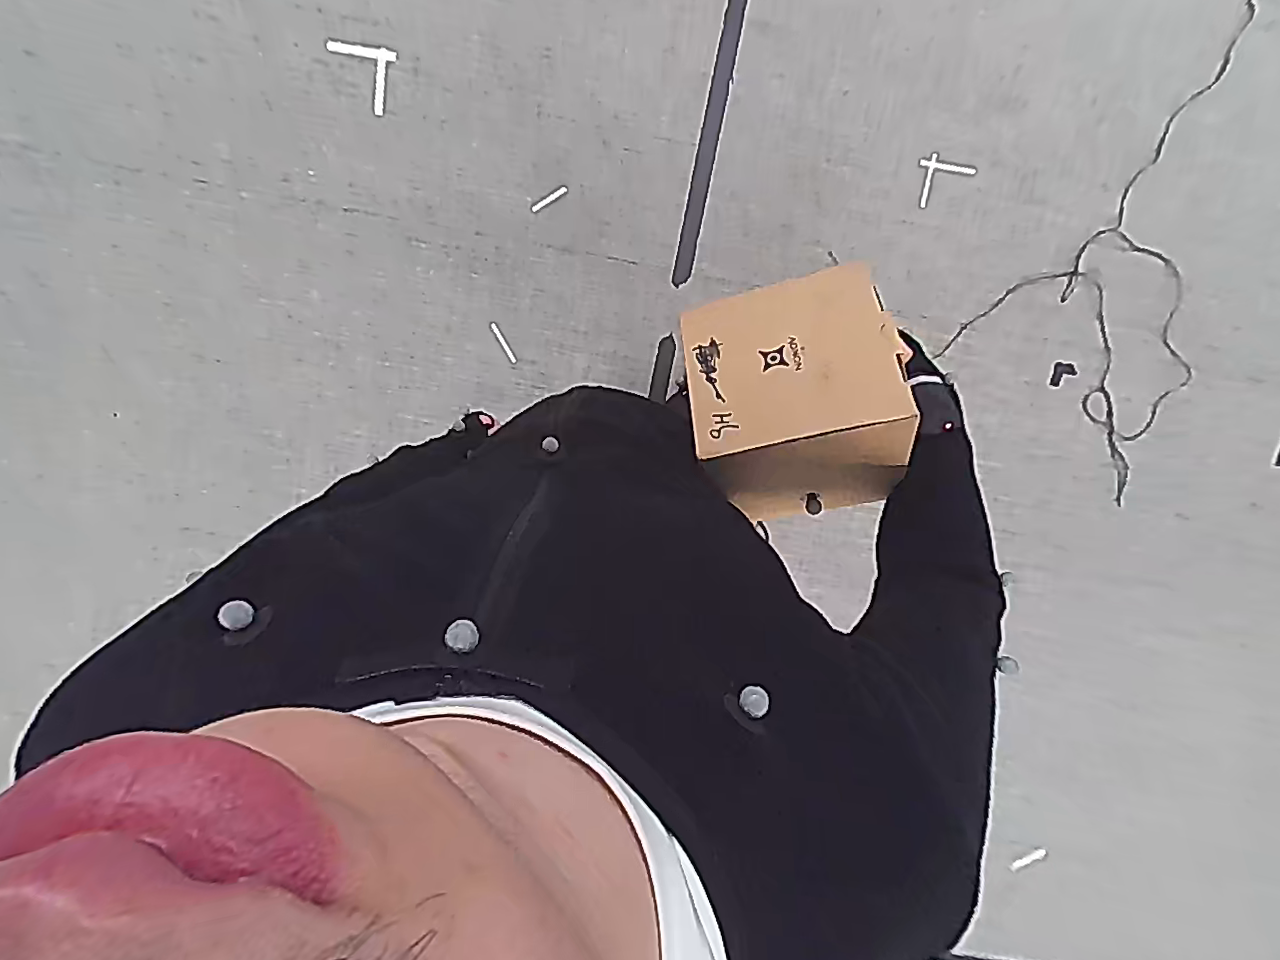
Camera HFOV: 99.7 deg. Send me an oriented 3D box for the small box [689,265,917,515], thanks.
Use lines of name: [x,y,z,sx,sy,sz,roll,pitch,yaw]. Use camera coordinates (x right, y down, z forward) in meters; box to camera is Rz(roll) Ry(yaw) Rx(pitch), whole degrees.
small box: [0.157,-0.078,0.549,0.179,0.176,0.168,-11,61,15]
